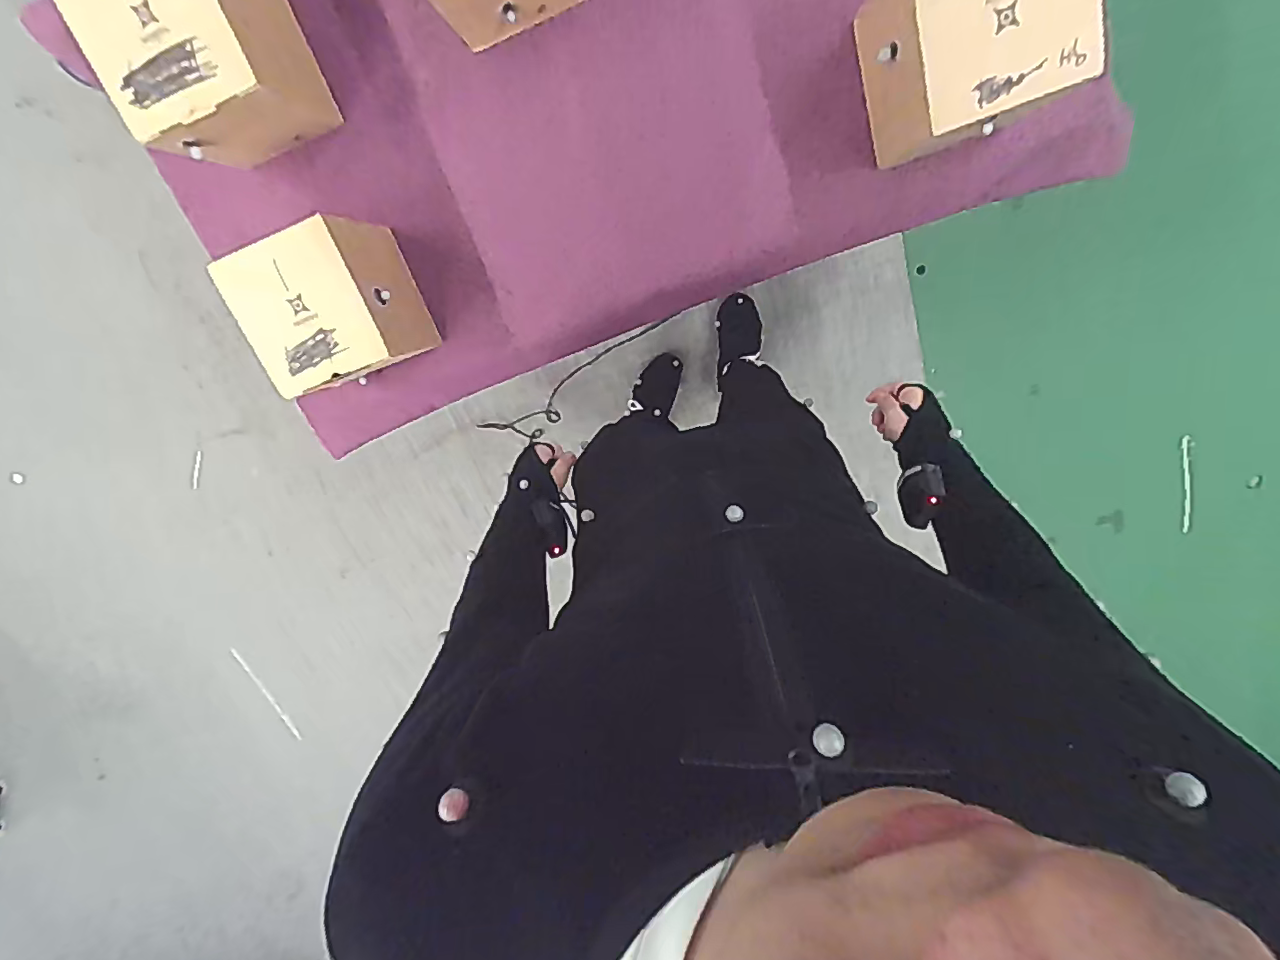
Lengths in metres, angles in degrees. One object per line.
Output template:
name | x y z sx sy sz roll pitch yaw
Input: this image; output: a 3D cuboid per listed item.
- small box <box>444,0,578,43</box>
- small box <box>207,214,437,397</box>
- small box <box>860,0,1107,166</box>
small box | -0.167 -0.623 0.575 0.168 0.176 0.179 -18 110 9
small box | -0.407 -0.233 0.729 0.168 0.176 0.179 -18 108 9
small box | 0.361 -0.482 0.595 0.168 0.176 0.179 -16 106 10
